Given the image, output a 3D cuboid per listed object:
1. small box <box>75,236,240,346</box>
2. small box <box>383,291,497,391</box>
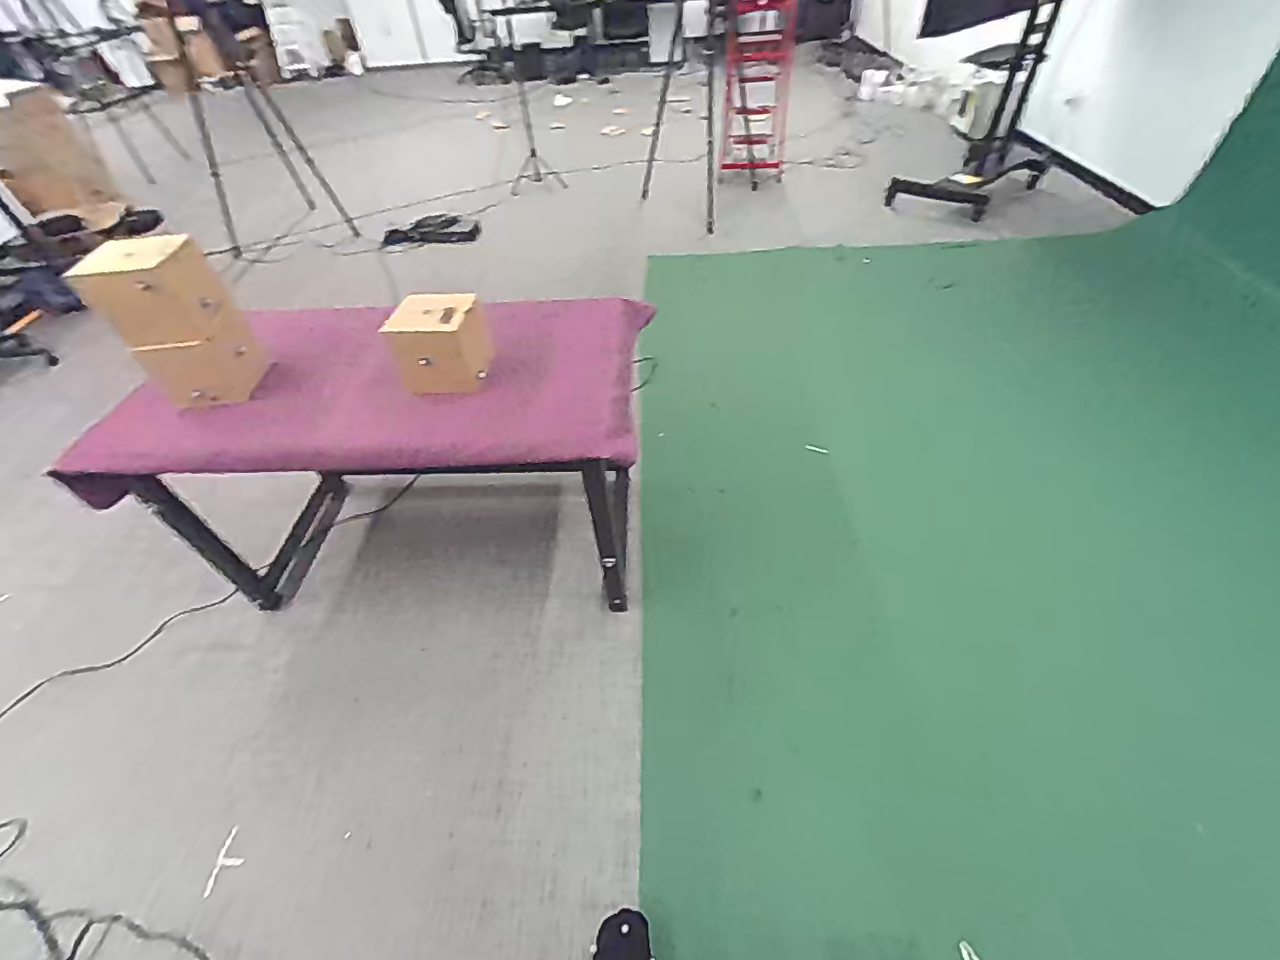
[{"bbox_3d":[-1.039,-0.410,1.185,0.179,0.176,0.168,-7,47,-2],"label":"small box"},{"bbox_3d":[-0.457,-0.324,1.271,0.179,0.176,0.168,3,46,9],"label":"small box"}]
